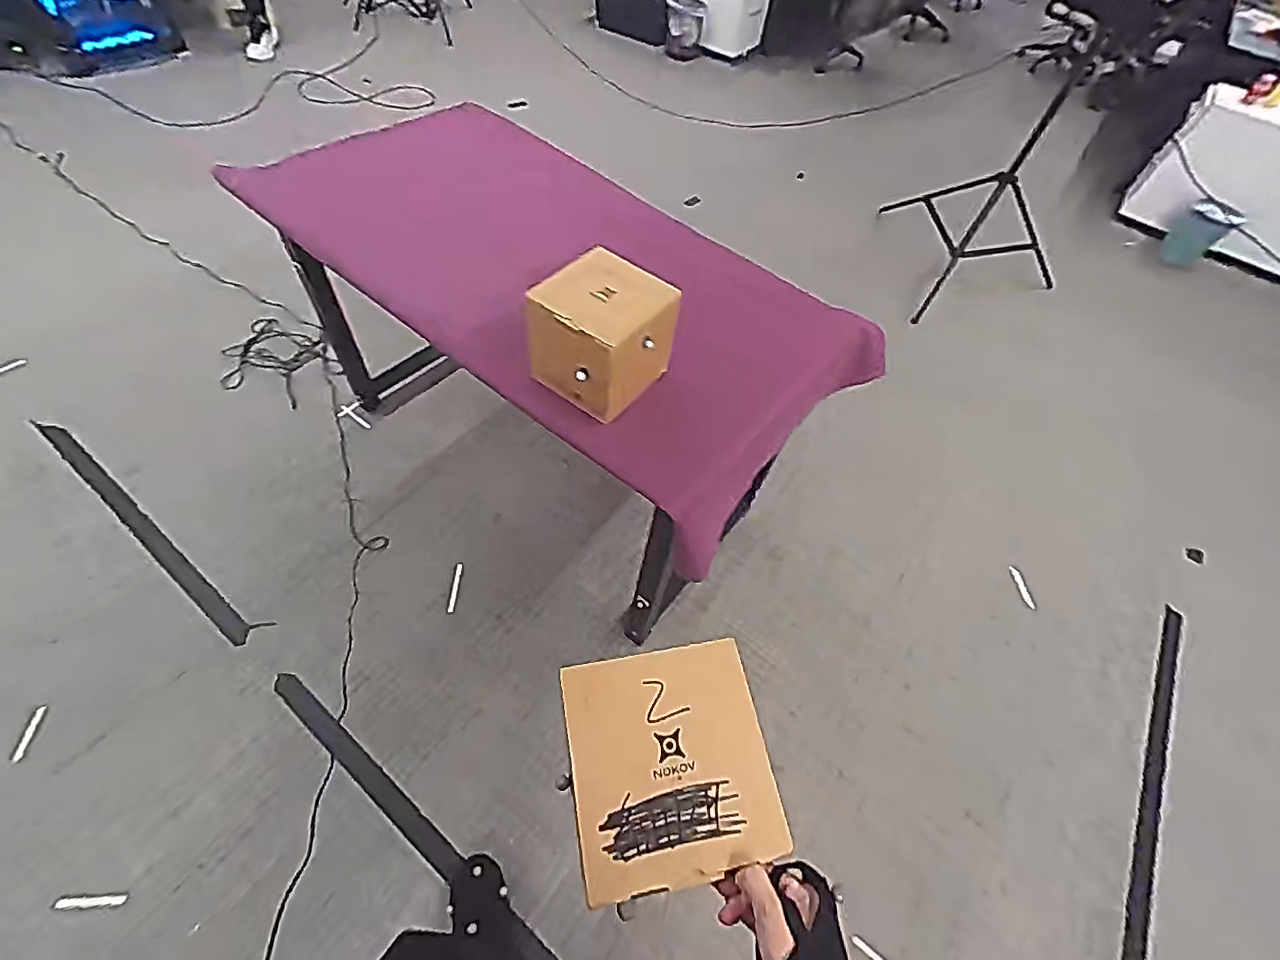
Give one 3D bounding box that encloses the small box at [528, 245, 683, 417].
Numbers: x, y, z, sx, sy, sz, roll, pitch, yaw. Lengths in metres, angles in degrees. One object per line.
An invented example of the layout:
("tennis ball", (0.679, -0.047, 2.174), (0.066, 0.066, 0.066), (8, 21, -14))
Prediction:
("small box", (-0.056, -0.232, 0.864), (0.168, 0.176, 0.179), (34, 58, 14))
